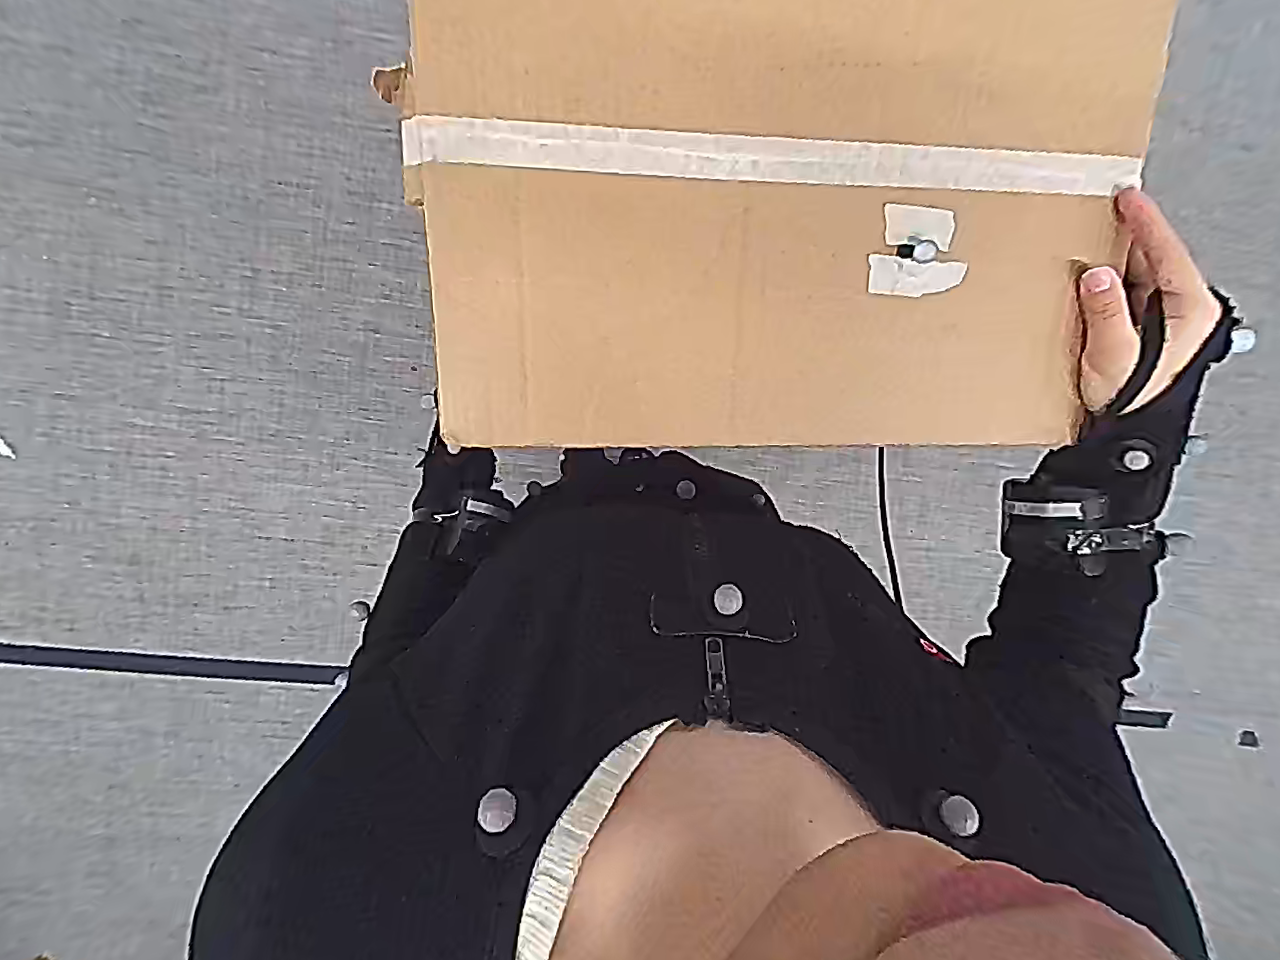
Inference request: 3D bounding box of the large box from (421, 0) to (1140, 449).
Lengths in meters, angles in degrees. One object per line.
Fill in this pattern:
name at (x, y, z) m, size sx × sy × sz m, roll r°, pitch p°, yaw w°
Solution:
large box at (0.068, -0.208, 0.450) m, size 0.408 × 0.320 × 0.320 m, roll -1°, pitch 104°, yaw -8°
